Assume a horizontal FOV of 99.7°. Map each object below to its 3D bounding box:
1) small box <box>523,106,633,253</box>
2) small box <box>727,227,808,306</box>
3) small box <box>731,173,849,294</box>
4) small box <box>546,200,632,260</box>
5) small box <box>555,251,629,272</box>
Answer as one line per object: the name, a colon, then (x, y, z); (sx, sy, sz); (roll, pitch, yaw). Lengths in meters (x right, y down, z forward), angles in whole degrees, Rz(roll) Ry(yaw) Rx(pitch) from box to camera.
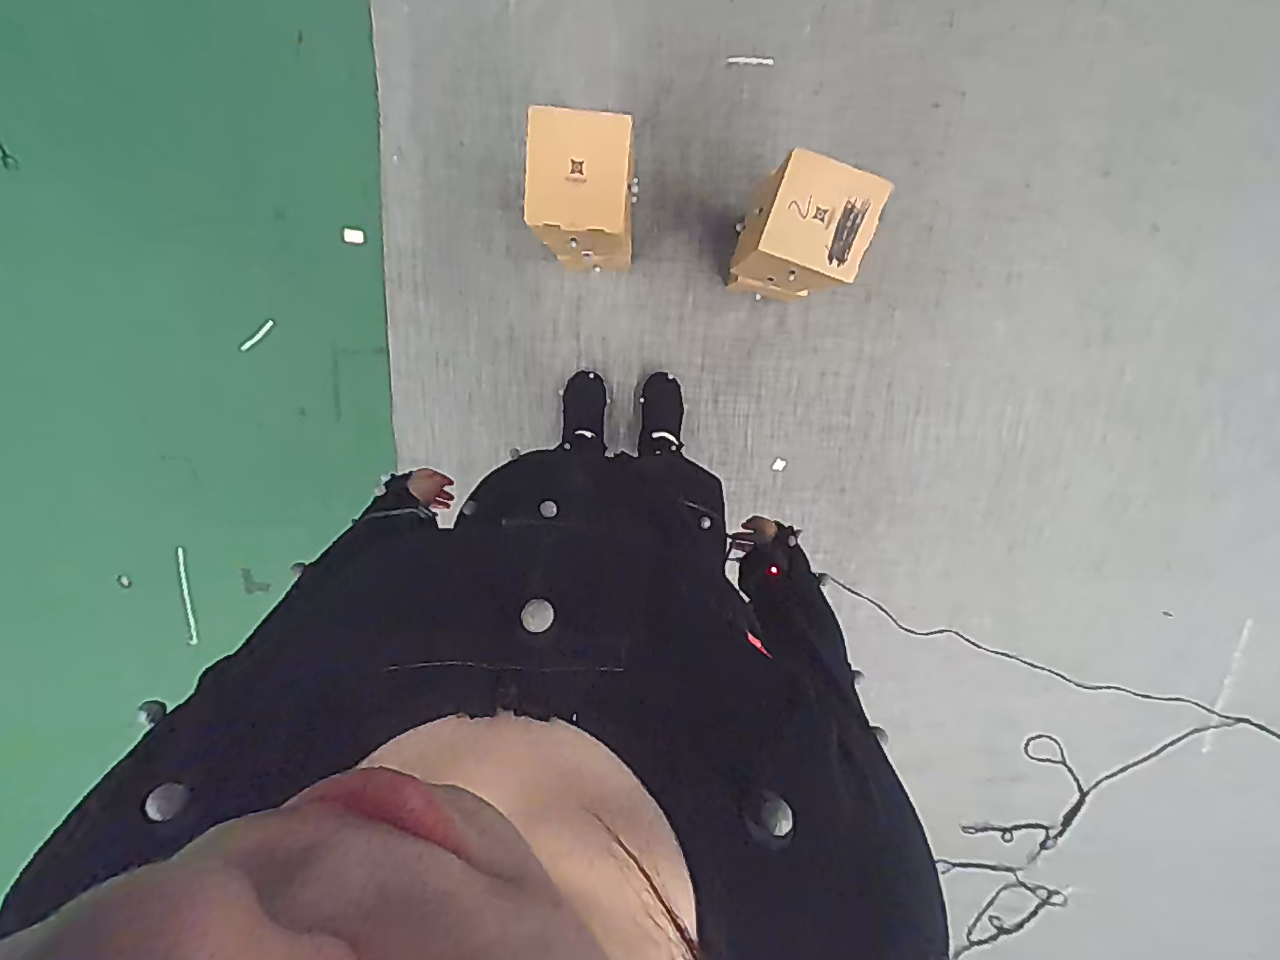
small box: (-0.102, -0.511, 0.943); (0.168, 0.176, 0.179); (6, 104, -1)
small box: (0.313, -0.522, 1.278); (0.168, 0.176, 0.179); (12, 104, -3)
small box: (0.296, -0.495, 1.116); (0.168, 0.176, 0.179); (16, 104, -4)
small box: (-0.102, -0.555, 1.100); (0.168, 0.176, 0.179); (-1, 104, 0)
small box: (-0.109, -0.590, 1.258); (0.168, 0.176, 0.179); (-1, 104, 0)
